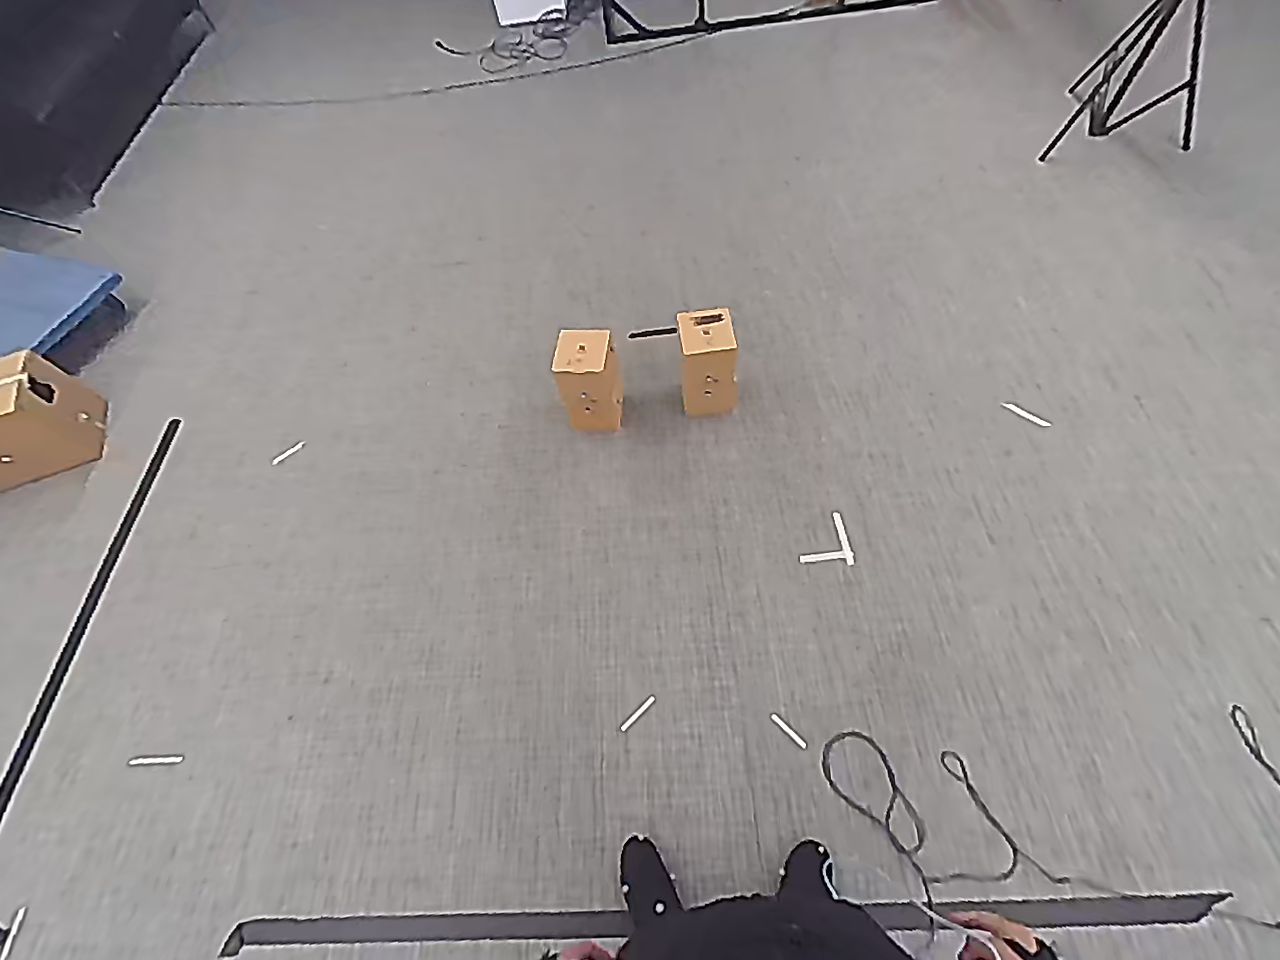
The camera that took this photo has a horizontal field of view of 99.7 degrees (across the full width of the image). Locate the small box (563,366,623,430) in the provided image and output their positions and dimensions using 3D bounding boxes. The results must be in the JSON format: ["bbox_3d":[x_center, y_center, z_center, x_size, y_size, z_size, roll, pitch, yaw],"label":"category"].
[{"bbox_3d":[-0.158,-0.289,1.907,0.179,0.176,0.168,1,61,8],"label":"small box"}]

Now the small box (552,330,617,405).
[{"bbox_3d":[-0.174,-0.367,1.762,0.168,0.176,0.179,2,62,9],"label":"small box"}]

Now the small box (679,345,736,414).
[{"bbox_3d":[0.233,-0.347,1.895,0.179,0.176,0.168,-6,61,2],"label":"small box"}]
